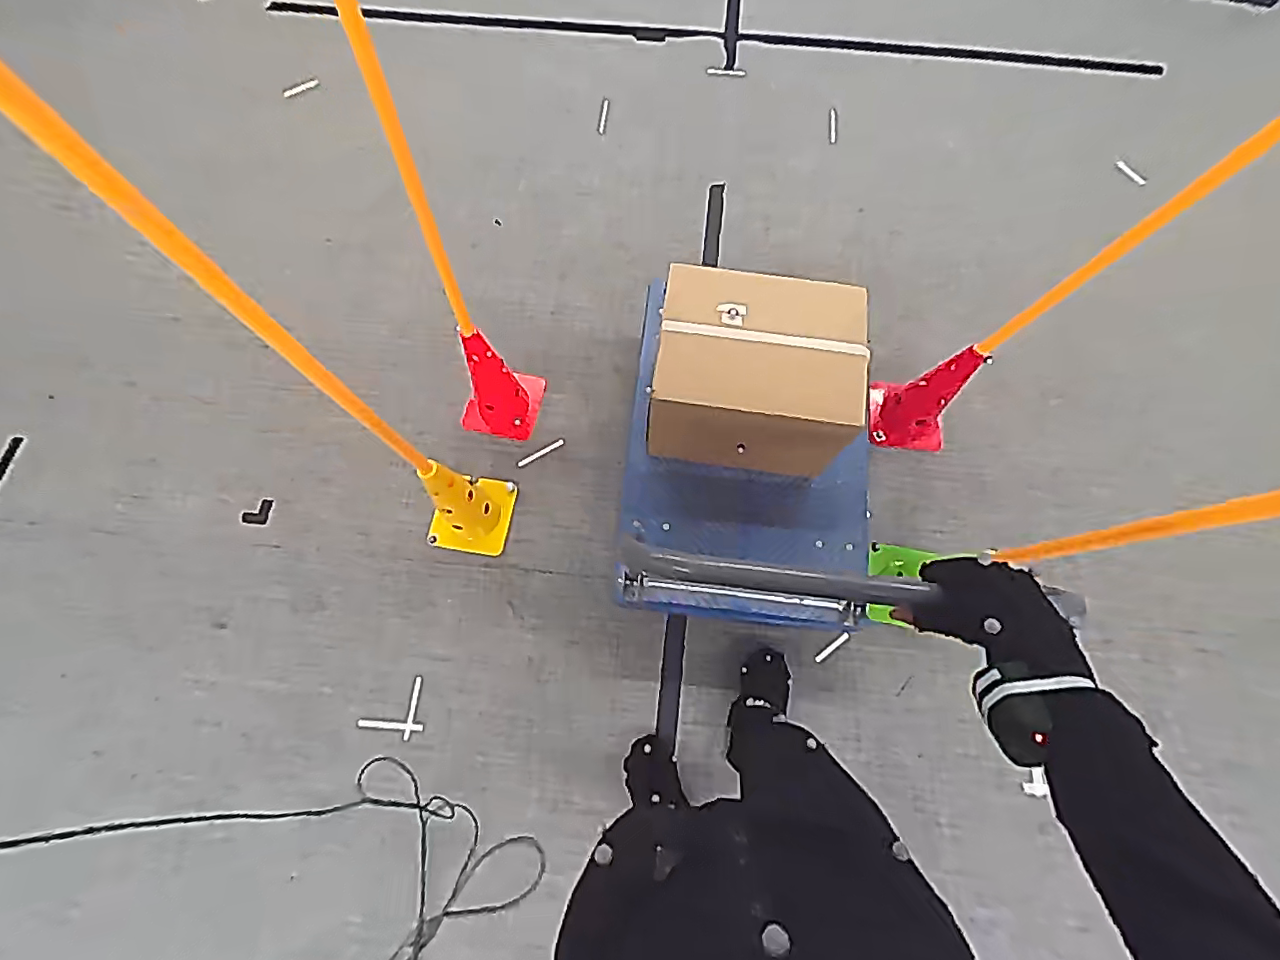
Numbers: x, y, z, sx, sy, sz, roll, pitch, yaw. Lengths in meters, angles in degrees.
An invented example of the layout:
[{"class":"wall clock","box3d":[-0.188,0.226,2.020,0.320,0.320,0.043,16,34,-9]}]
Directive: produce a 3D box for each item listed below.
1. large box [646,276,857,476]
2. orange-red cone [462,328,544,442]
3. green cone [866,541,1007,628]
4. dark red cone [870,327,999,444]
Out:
[{"class":"large box","box3d":[0.231,-0.213,1.207,0.408,0.320,0.320,7,72,3]},{"class":"orange-red cone","box3d":[-0.383,-0.269,1.375,0.198,0.360,0.199,13,70,3]},{"class":"green cone","box3d":[0.682,0.210,1.216,0.202,0.368,0.200,10,71,2]},{"class":"dark red cone","box3d":[0.751,-0.251,1.353,0.201,0.394,0.202,6,72,0]}]
